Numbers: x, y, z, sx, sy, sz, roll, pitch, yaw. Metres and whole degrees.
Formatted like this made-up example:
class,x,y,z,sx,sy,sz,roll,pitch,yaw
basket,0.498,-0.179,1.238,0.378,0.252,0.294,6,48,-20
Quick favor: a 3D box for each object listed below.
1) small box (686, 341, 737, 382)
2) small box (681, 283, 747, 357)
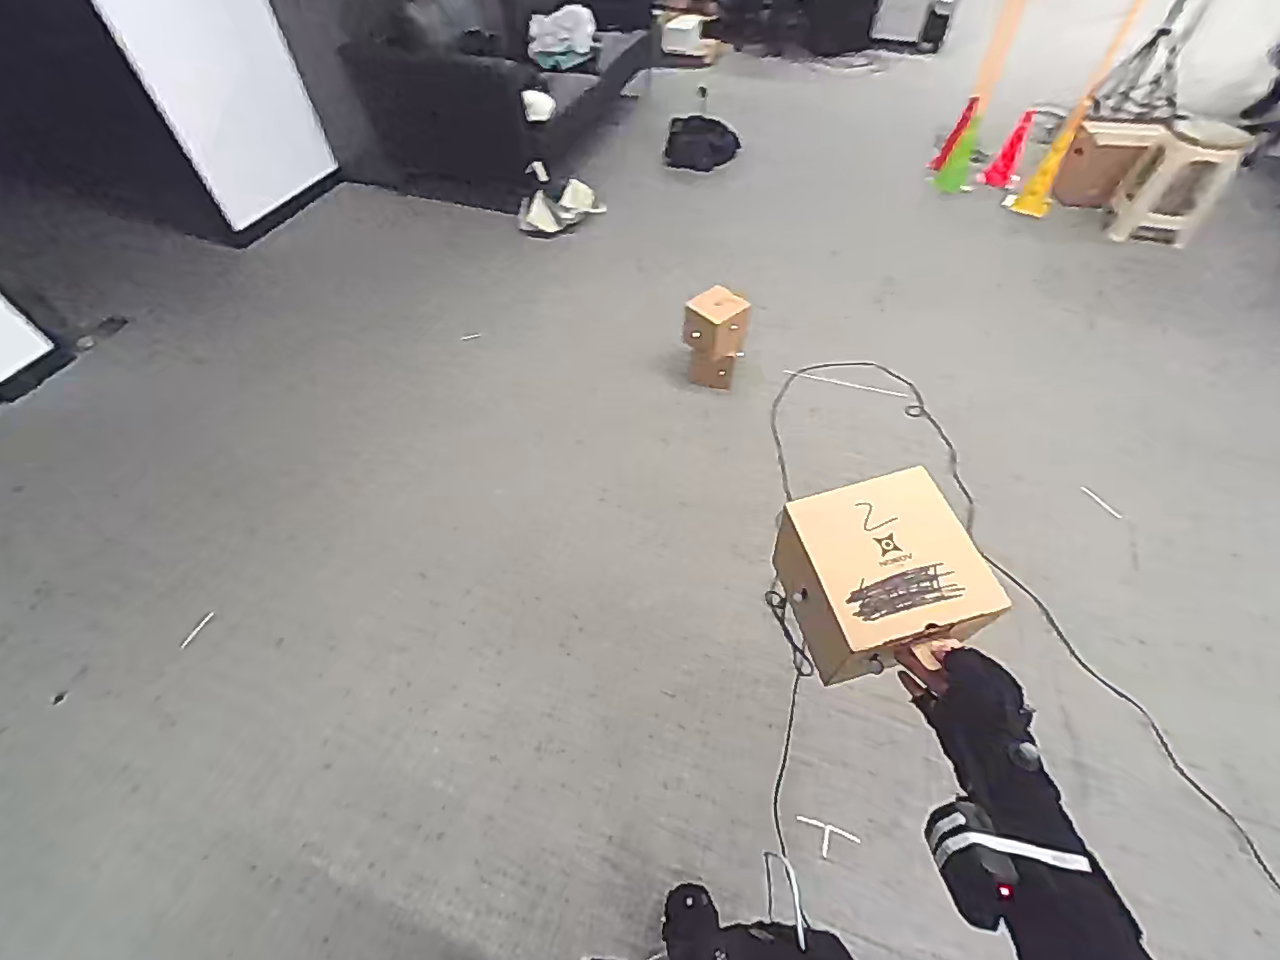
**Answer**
class,x,y,z,sx,sy,sz,roll,pitch,yaw
small box,0.280,-0.500,2.096,0.179,0.176,0.168,10,53,10
small box,0.266,-0.579,1.971,0.179,0.176,0.168,-35,60,-24
